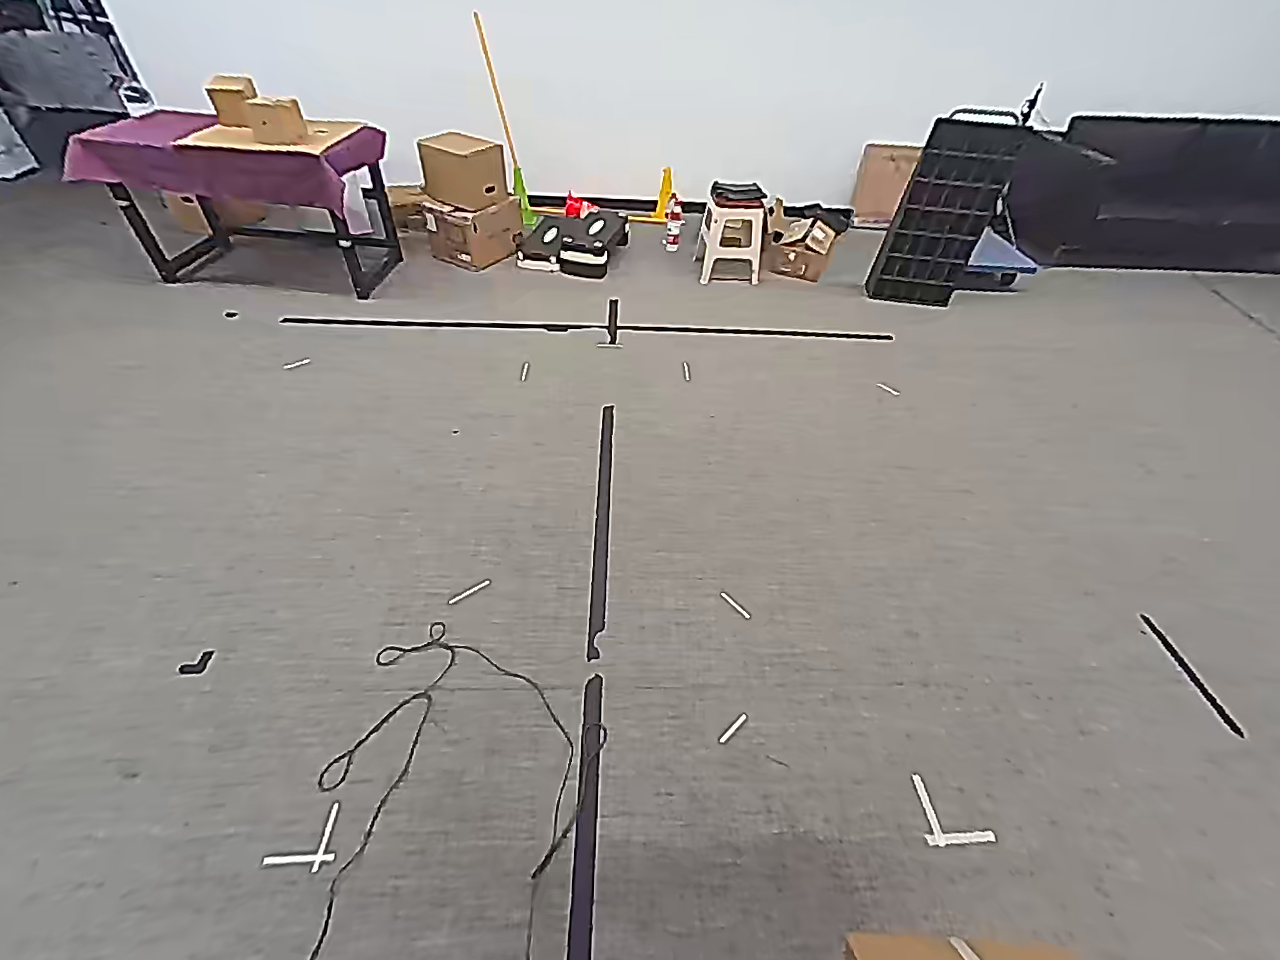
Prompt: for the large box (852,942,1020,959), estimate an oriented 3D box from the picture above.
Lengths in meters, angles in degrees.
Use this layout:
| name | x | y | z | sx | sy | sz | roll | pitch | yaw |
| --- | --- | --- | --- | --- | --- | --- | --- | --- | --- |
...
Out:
| name | x | y | z | sx | sy | sz | roll | pitch | yaw |
| --- | --- | --- | --- | --- | --- | --- | --- | --- | --- |
| large box | 0.441 | 0.790 | 0.556 | 0.320 | 0.408 | 0.320 | 3 | 79 | 3 |
